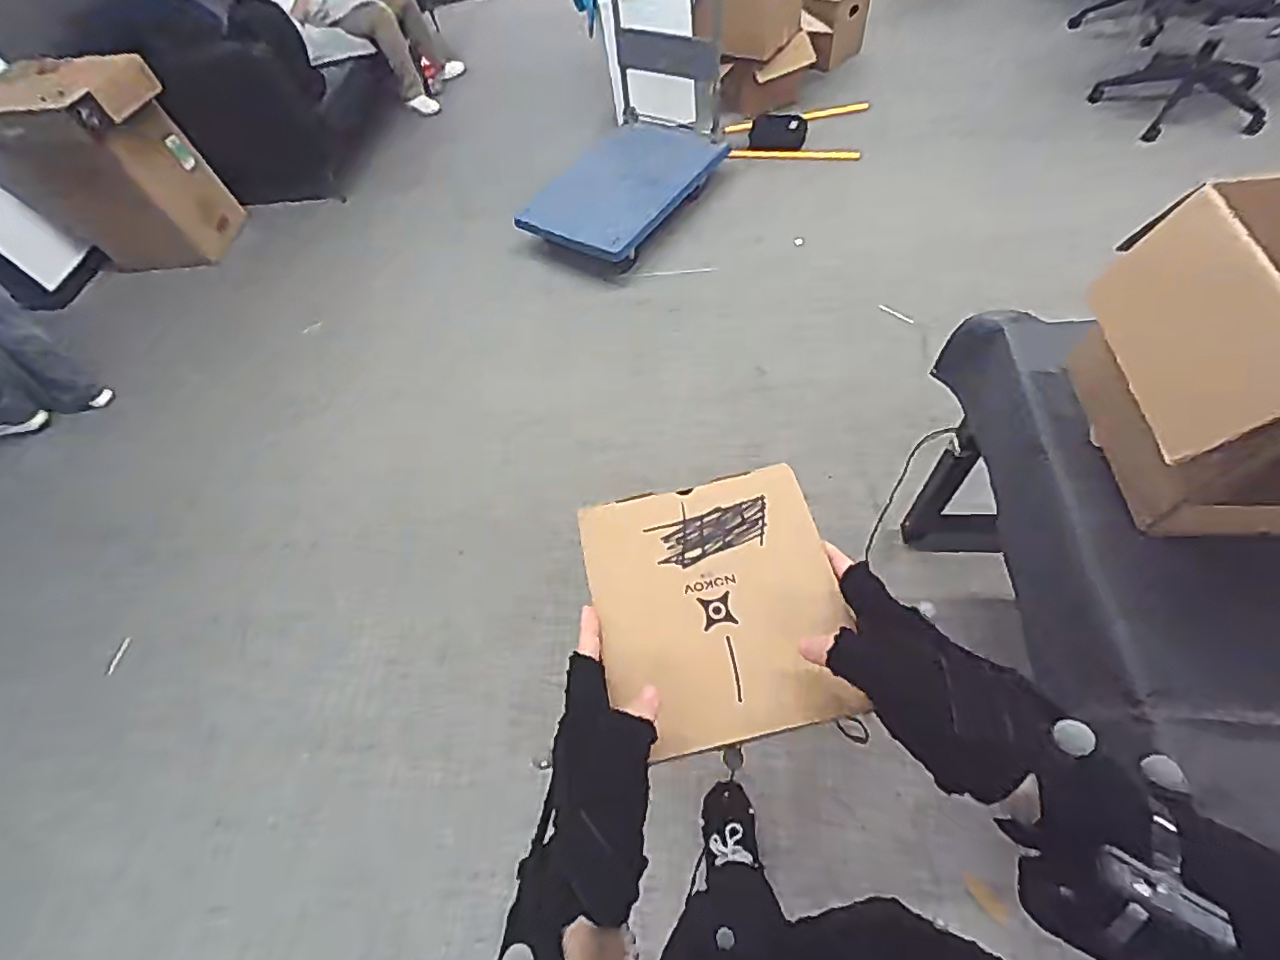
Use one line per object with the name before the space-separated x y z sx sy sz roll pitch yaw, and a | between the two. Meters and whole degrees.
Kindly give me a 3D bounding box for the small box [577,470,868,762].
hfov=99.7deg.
small box | 0.050 0.118 0.439 0.168 0.176 0.179 -11 63 -3
